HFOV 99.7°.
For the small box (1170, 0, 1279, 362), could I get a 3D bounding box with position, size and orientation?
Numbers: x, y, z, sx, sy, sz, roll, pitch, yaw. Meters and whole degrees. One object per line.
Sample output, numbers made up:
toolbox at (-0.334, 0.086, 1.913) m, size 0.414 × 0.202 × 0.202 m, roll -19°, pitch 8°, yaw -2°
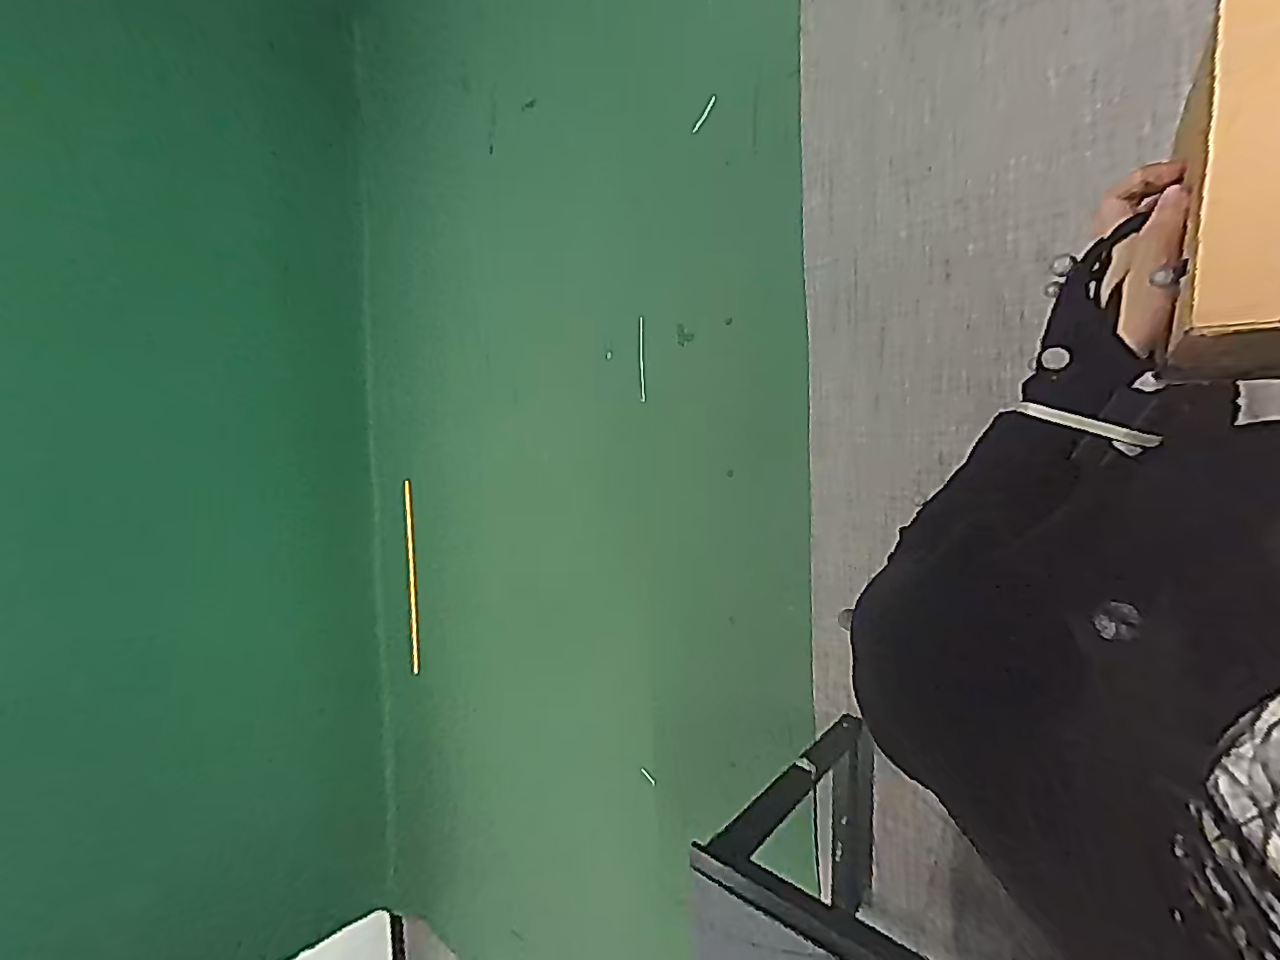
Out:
small box at (0.397, -0.168, 0.276) m, size 0.168 × 0.176 × 0.179 m, roll 4°, pitch 92°, yaw 40°
